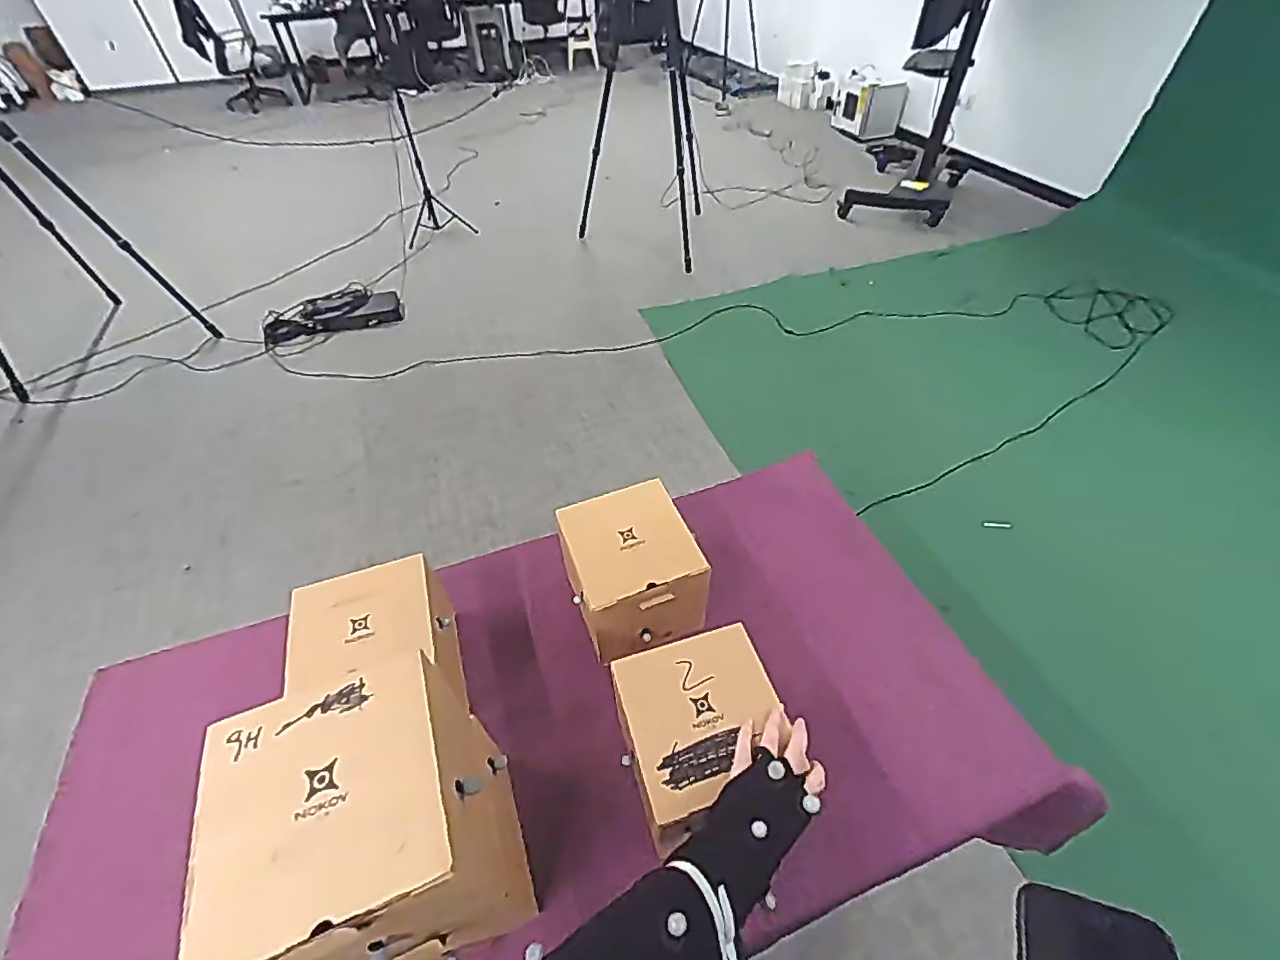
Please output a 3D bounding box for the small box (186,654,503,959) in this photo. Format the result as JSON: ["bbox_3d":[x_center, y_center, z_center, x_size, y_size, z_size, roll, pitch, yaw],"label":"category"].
[{"bbox_3d":[-0.225,0.283,0.450,0.168,0.176,0.179,-18,49,-14],"label":"small box"}]

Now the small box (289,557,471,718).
[{"bbox_3d":[-0.335,0.238,0.721,0.168,0.176,0.179,-16,49,-13],"label":"small box"}]

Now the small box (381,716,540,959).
[{"bbox_3d":[-0.216,0.391,0.574,0.168,0.176,0.179,-19,49,-13],"label":"small box"}]

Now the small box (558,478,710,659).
[{"bbox_3d":[-0.012,0.132,0.802,0.168,0.176,0.179,-18,51,-13],"label":"small box"}]
